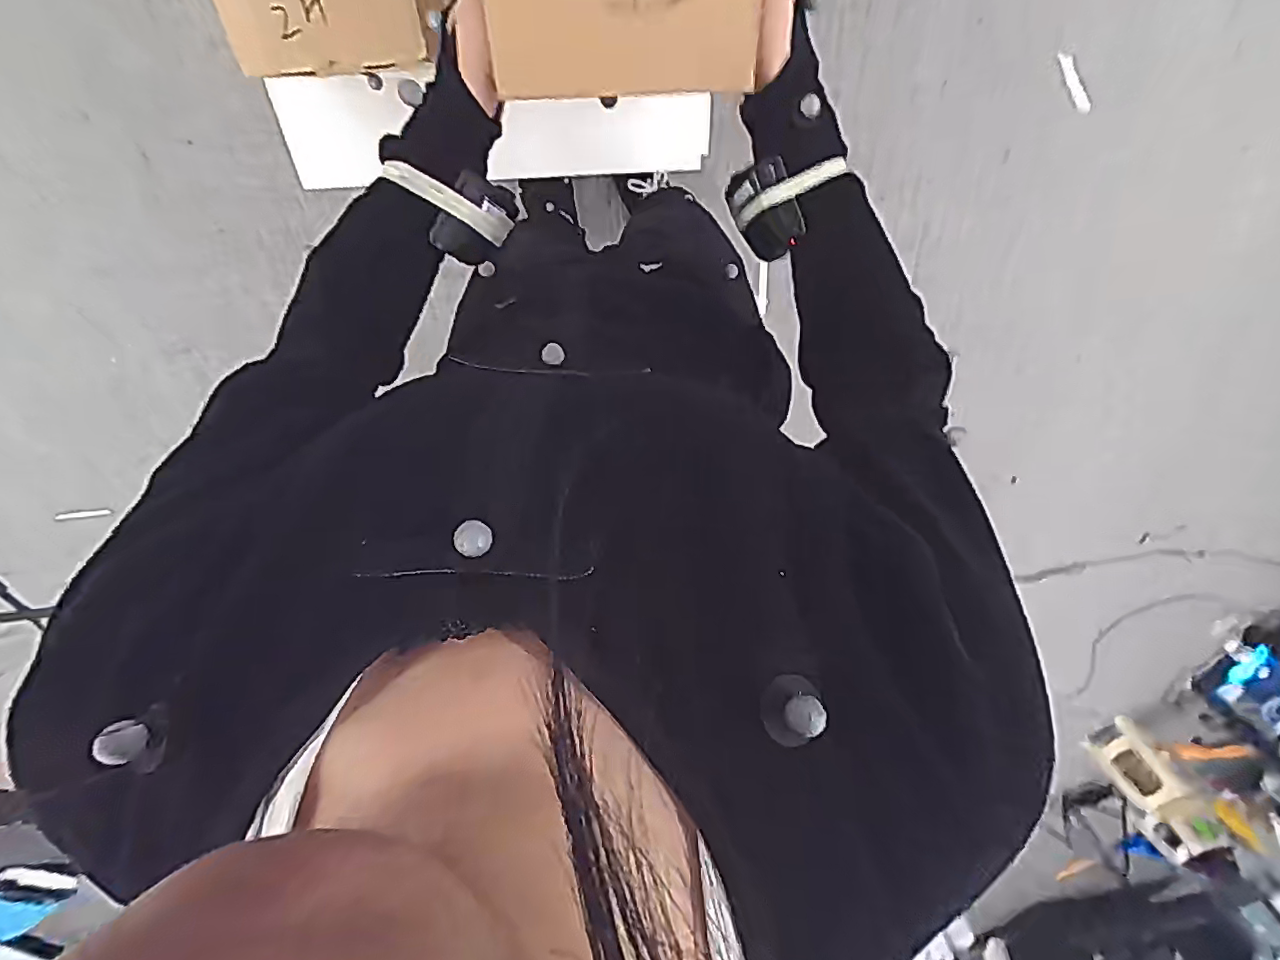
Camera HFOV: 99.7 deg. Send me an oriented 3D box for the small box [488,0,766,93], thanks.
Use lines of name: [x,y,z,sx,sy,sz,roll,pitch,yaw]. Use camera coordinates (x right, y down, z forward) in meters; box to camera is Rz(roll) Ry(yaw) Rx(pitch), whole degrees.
small box: [-0.011,-0.364,0.349,0.168,0.176,0.179,-2,131,-1]

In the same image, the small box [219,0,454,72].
small box: [-0.284,-0.490,0.497,0.168,0.176,0.179,-7,128,-3]
